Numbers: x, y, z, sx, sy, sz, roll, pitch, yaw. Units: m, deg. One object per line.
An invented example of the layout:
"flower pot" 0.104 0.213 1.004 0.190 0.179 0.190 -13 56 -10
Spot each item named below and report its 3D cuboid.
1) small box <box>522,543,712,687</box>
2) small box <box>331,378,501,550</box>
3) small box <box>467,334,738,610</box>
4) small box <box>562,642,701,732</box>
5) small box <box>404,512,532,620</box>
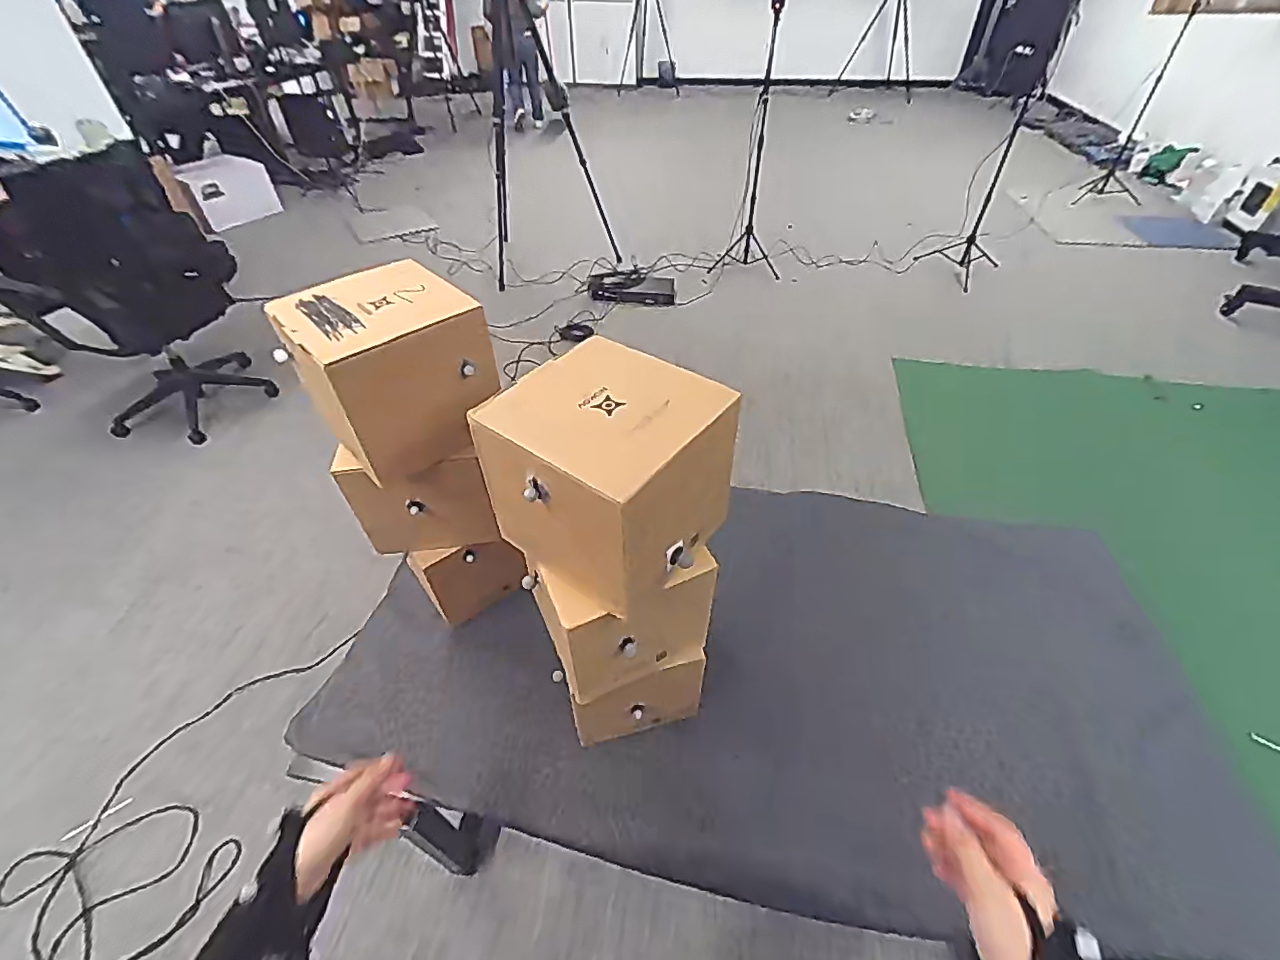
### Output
"small box" -0.032 0.112 0.626 0.168 0.176 0.179 -20 47 -17
"small box" -0.293 -0.021 0.762 0.179 0.176 0.168 -7 46 -5
"small box" -0.030 -0.009 0.518 0.179 0.176 0.168 29 53 27
"small box" -0.023 0.224 0.744 0.168 0.176 0.179 -11 45 -10
"small box" -0.290 0.092 0.883 0.168 0.176 0.179 -31 53 -26
